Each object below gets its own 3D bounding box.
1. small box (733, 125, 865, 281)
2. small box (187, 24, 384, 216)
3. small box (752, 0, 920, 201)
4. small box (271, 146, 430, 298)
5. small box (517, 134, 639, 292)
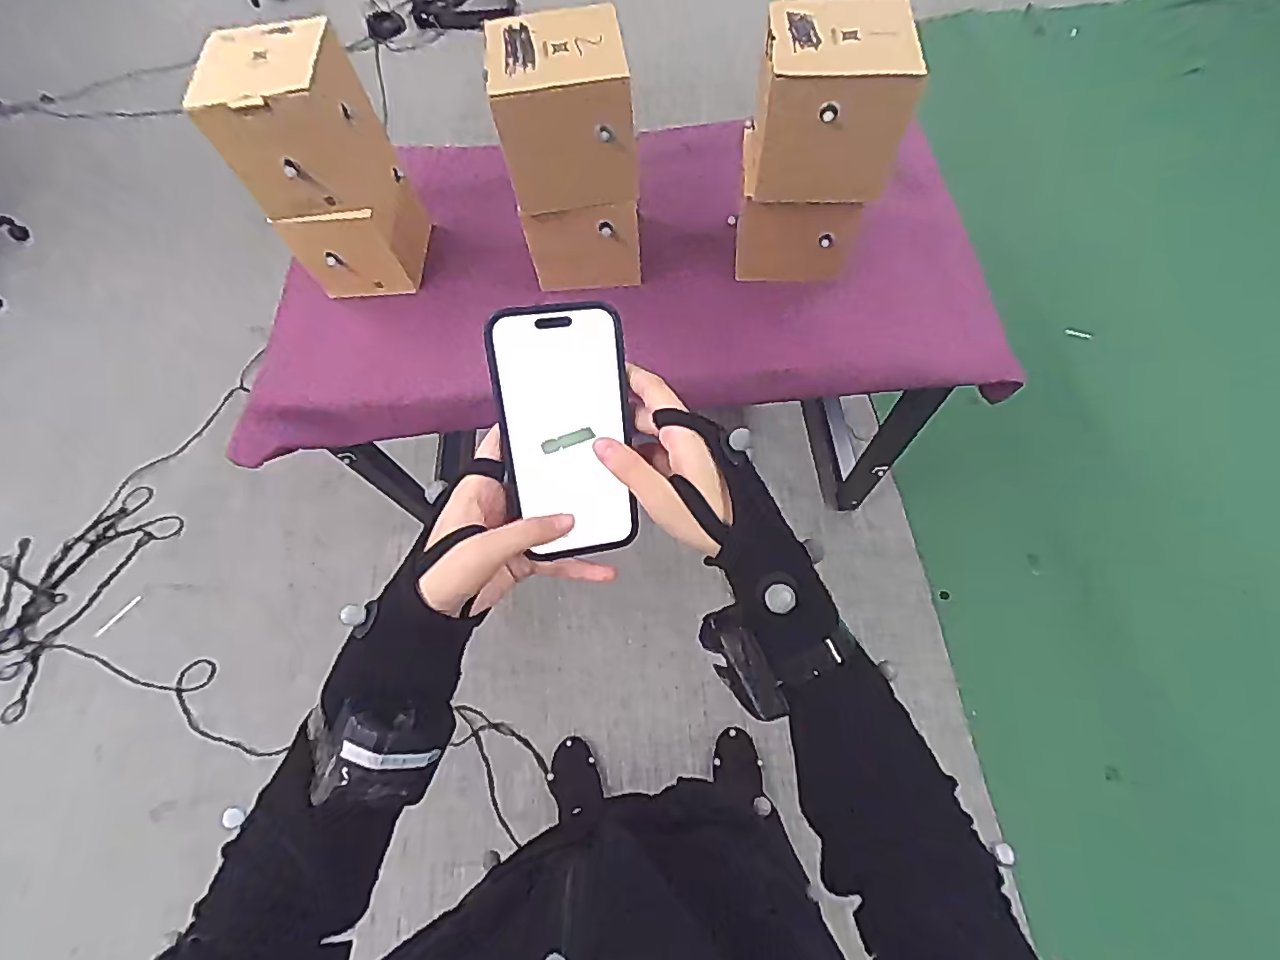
[{"bbox_3d":[0.247,-0.444,0.879,0.179,0.176,0.168,2,65,6],"label":"small box"},{"bbox_3d":[-0.495,-0.510,0.787,0.168,0.176,0.179,-7,65,0],"label":"small box"},{"bbox_3d":[0.244,-0.500,0.725,0.179,0.176,0.168,2,65,5],"label":"small box"},{"bbox_3d":[-0.483,-0.433,0.932,0.168,0.176,0.179,-3,65,3],"label":"small box"},{"bbox_3d":[-0.093,-0.438,0.902,0.179,0.176,0.168,-4,65,3],"label":"small box"}]
